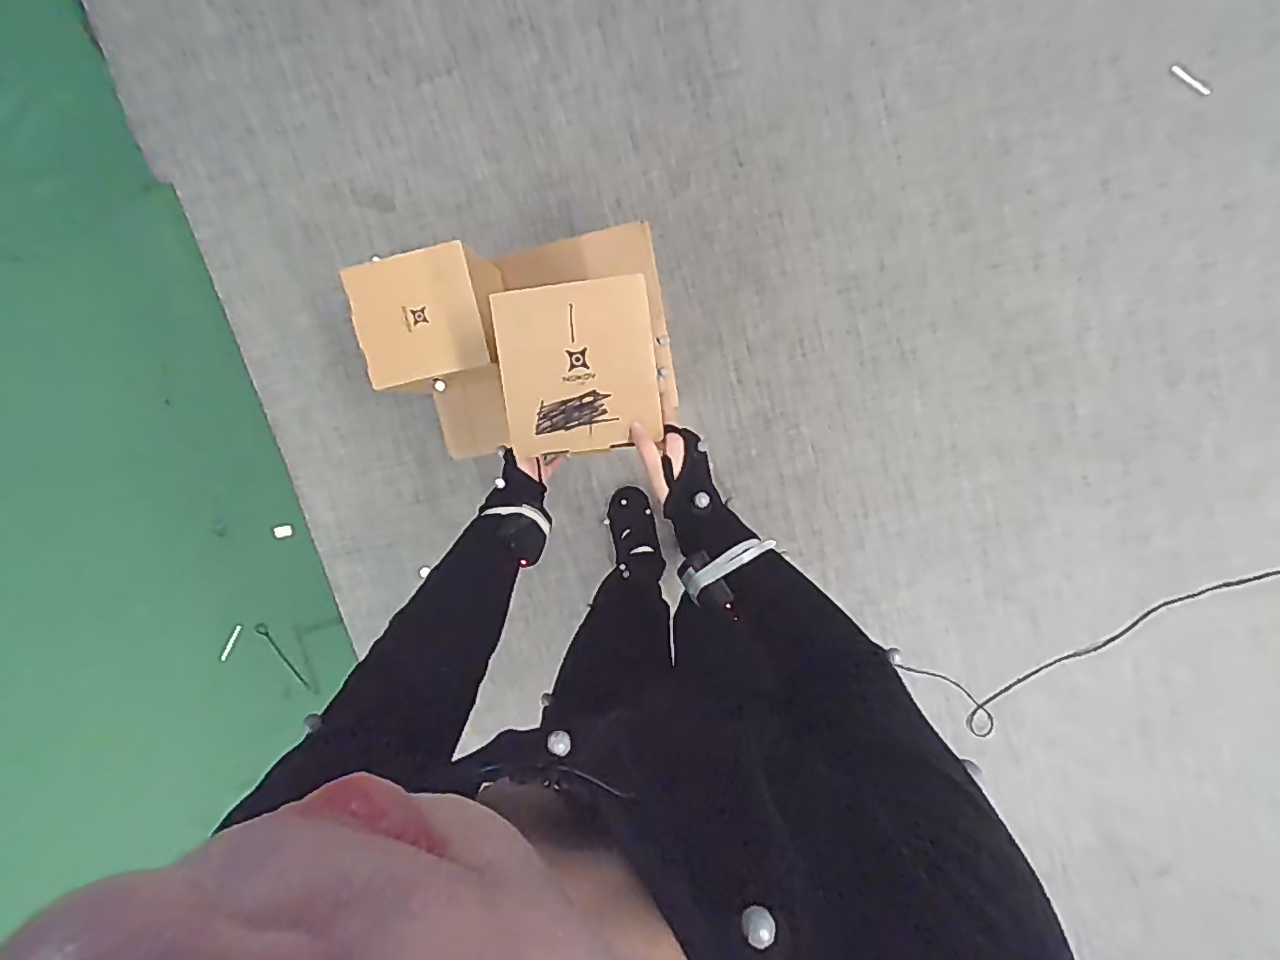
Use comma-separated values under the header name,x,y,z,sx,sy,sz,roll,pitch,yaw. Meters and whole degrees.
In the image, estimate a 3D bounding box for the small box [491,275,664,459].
name,x,y,z,sx,sy,sz,roll,pitch,yaw
small box,-0.061,-0.127,0.647,0.168,0.176,0.179,-7,96,4

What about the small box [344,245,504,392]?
name,x,y,z,sx,sy,sz,roll,pitch,yaw
small box,-0.296,-0.230,0.811,0.179,0.176,0.168,-12,97,5
